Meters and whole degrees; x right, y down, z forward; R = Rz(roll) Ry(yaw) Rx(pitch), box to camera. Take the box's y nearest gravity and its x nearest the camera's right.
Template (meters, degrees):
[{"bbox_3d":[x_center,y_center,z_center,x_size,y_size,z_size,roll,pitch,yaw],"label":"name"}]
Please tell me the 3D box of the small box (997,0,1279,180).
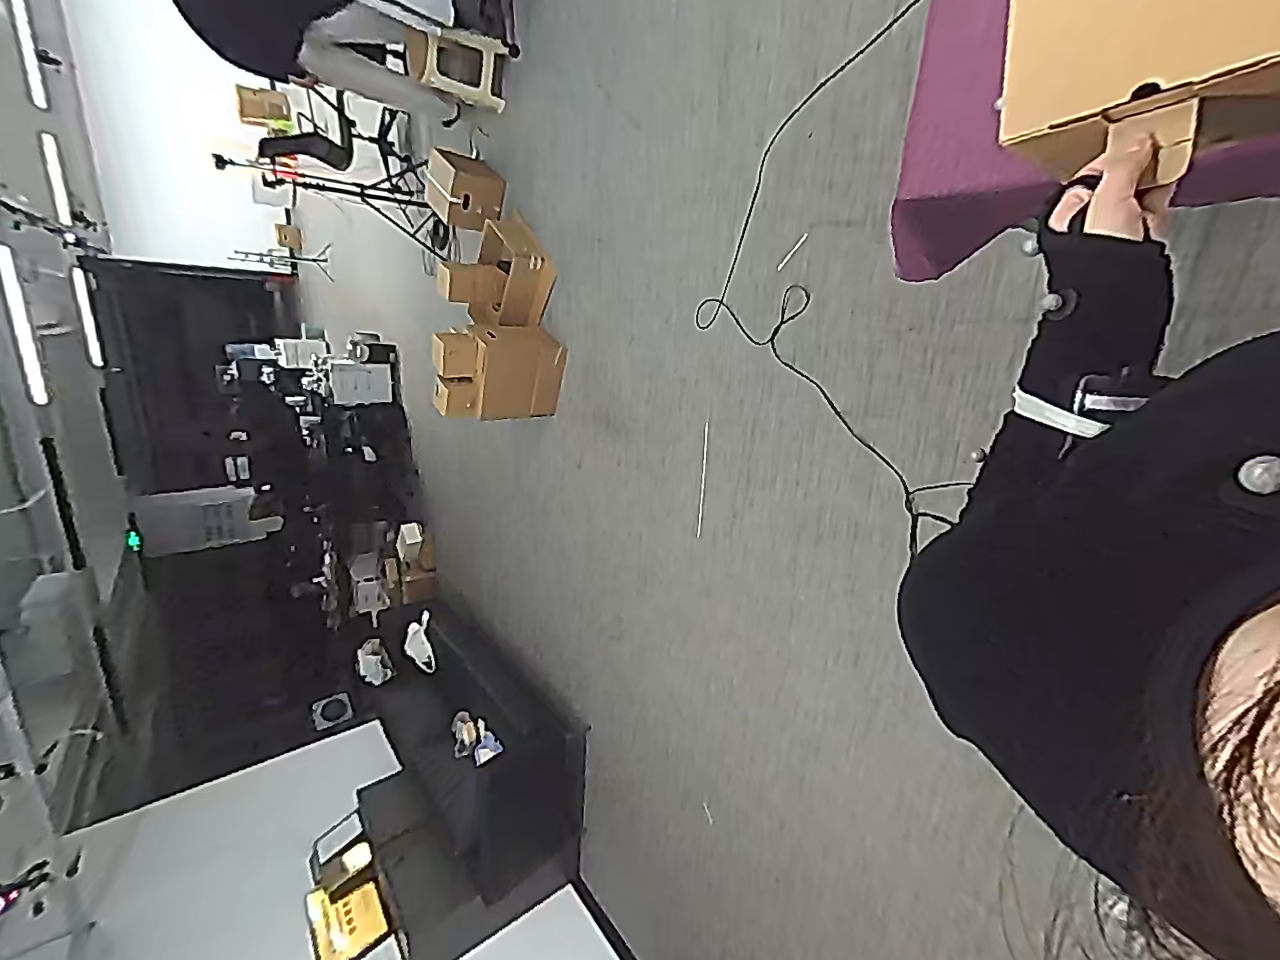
[{"bbox_3d":[0.392,-0.349,0.398,0.168,0.176,0.179,11,108,50],"label":"small box"}]
